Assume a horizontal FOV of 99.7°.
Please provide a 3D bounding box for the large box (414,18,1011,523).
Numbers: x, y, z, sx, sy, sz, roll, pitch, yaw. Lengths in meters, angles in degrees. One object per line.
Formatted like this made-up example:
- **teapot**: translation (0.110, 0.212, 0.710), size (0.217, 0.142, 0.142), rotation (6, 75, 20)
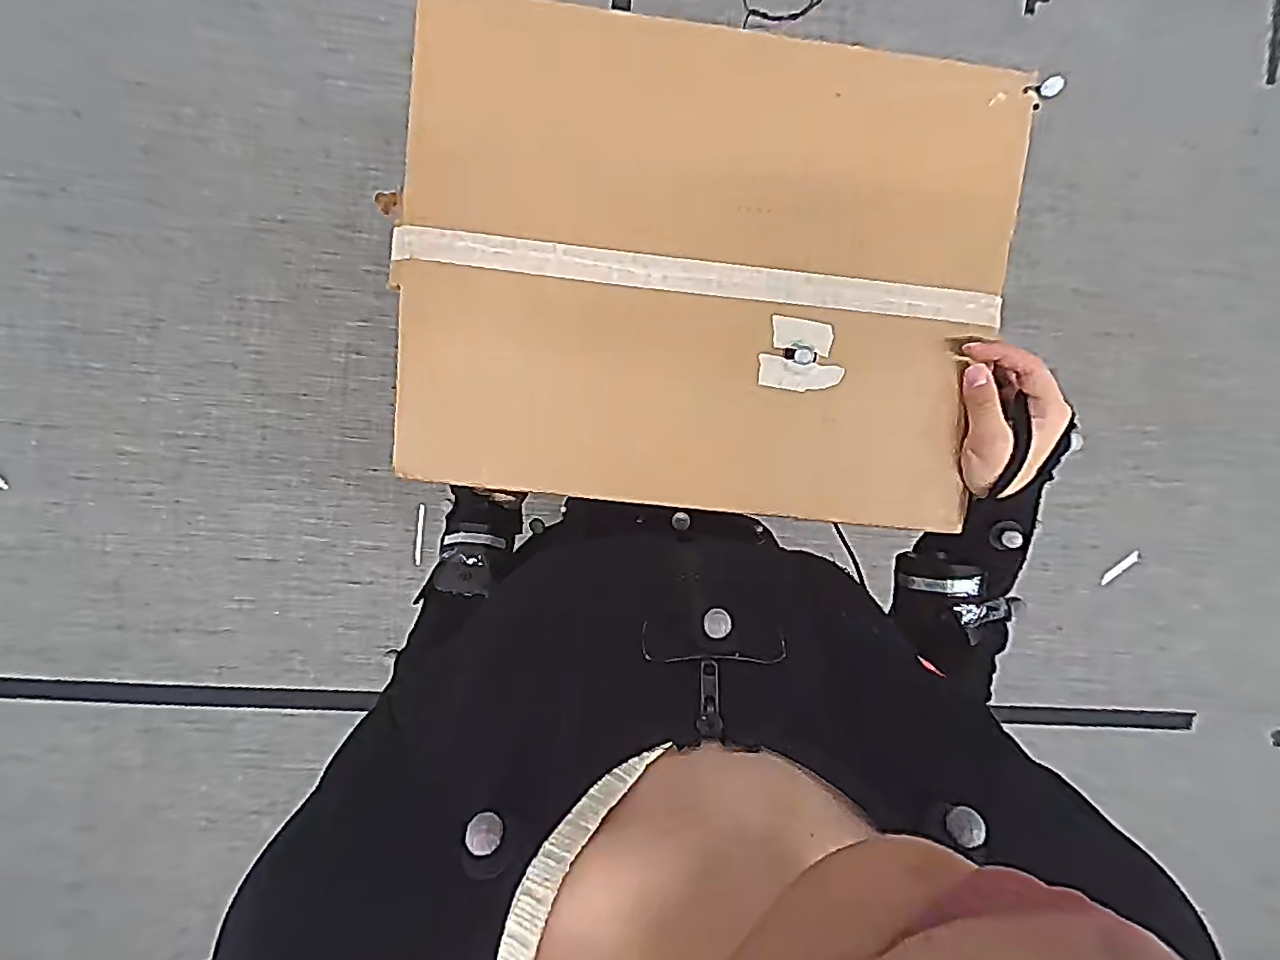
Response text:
- **large box**: translation (0.039, -0.148, 0.522), size (0.408, 0.320, 0.320), rotation (5, 97, -4)
